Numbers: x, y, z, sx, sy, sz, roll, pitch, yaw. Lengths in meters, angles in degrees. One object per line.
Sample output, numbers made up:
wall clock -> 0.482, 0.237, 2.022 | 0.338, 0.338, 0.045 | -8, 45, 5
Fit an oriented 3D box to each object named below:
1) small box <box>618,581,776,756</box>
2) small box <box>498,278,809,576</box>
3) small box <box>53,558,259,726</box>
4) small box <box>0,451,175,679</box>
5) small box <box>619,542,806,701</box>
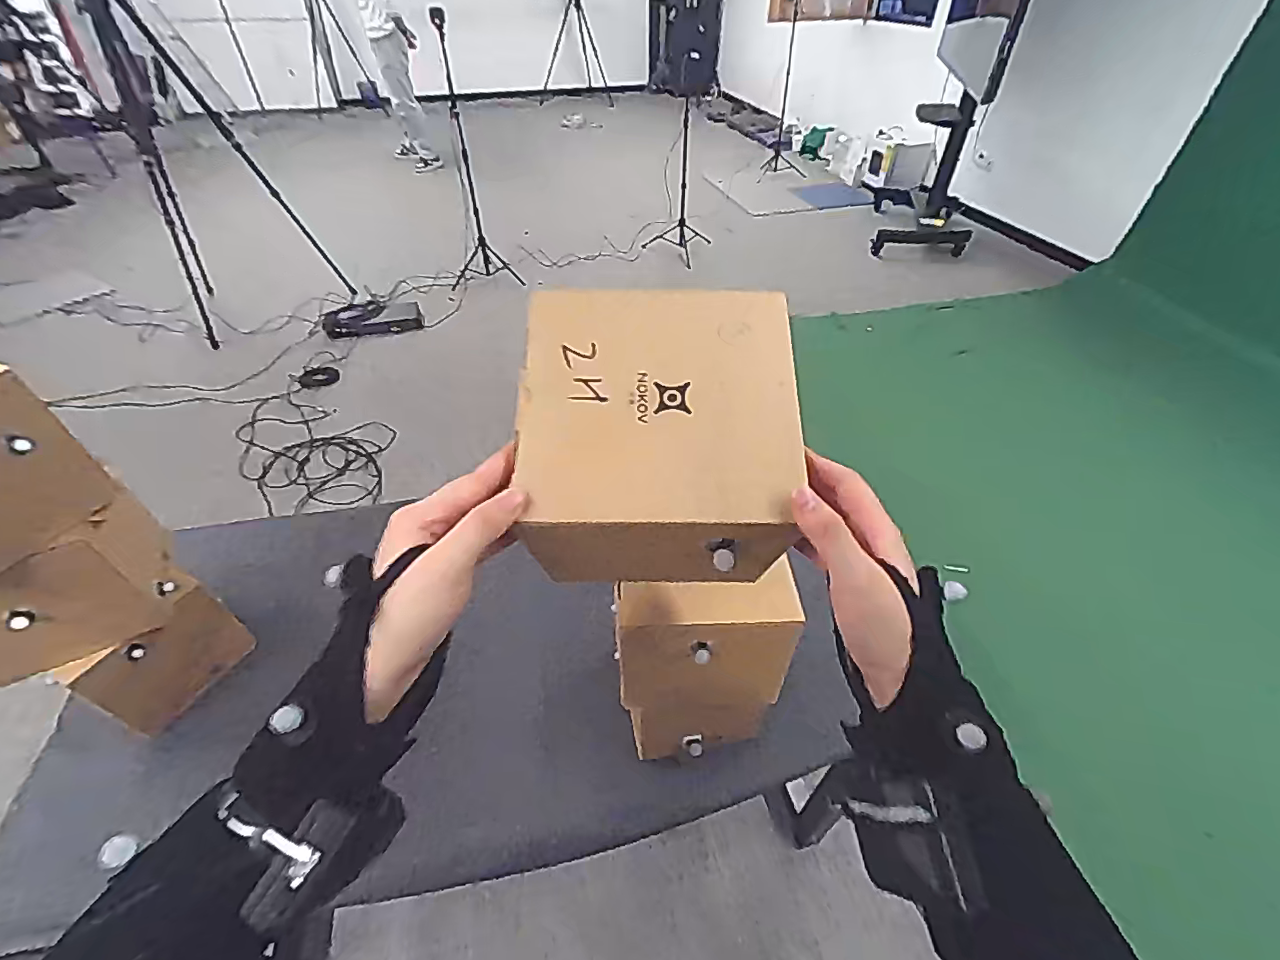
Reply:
small box -> 0.066, 0.240, 0.732 | 0.168, 0.176, 0.179 | -10, 45, -7
small box -> 0.009, -0.025, 0.399 | 0.179, 0.176, 0.168 | 0, 70, 1
small box -> -0.700, 0.214, 0.764 | 0.179, 0.176, 0.168 | 20, 48, 19
small box -> -0.699, 0.100, 0.646 | 0.179, 0.176, 0.168 | -24, 50, -22
small box -> 0.067, 0.133, 0.609 | 0.179, 0.176, 0.168 | -2, 43, 0
